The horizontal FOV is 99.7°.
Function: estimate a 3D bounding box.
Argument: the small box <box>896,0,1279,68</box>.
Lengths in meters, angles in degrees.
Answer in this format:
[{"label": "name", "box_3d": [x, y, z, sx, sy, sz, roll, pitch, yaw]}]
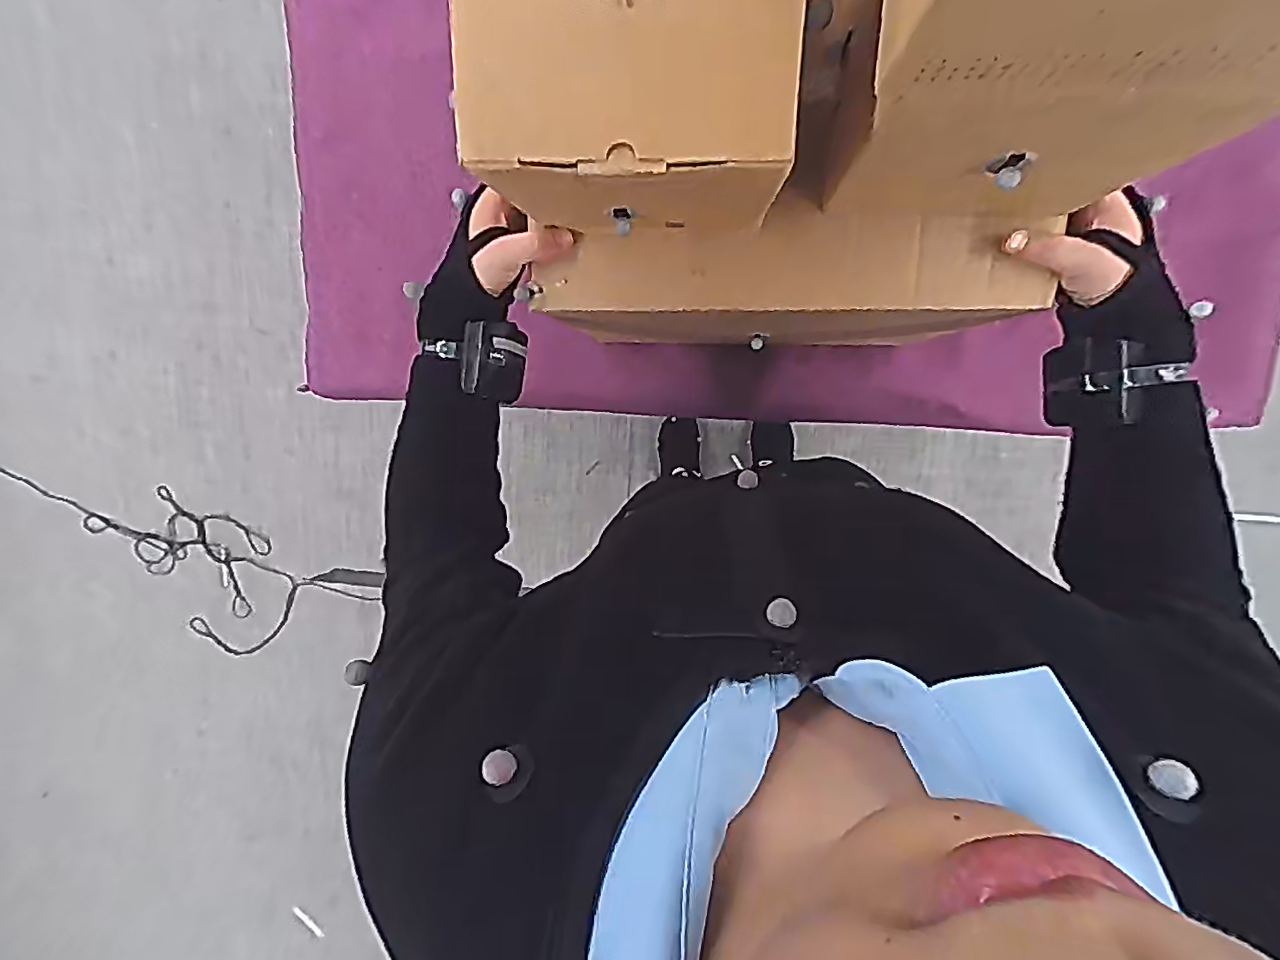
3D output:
[{"label": "small box", "box_3d": [0.184, -0.237, 0.133, 0.179, 0.176, 0.168, 4, 100, 6]}]
